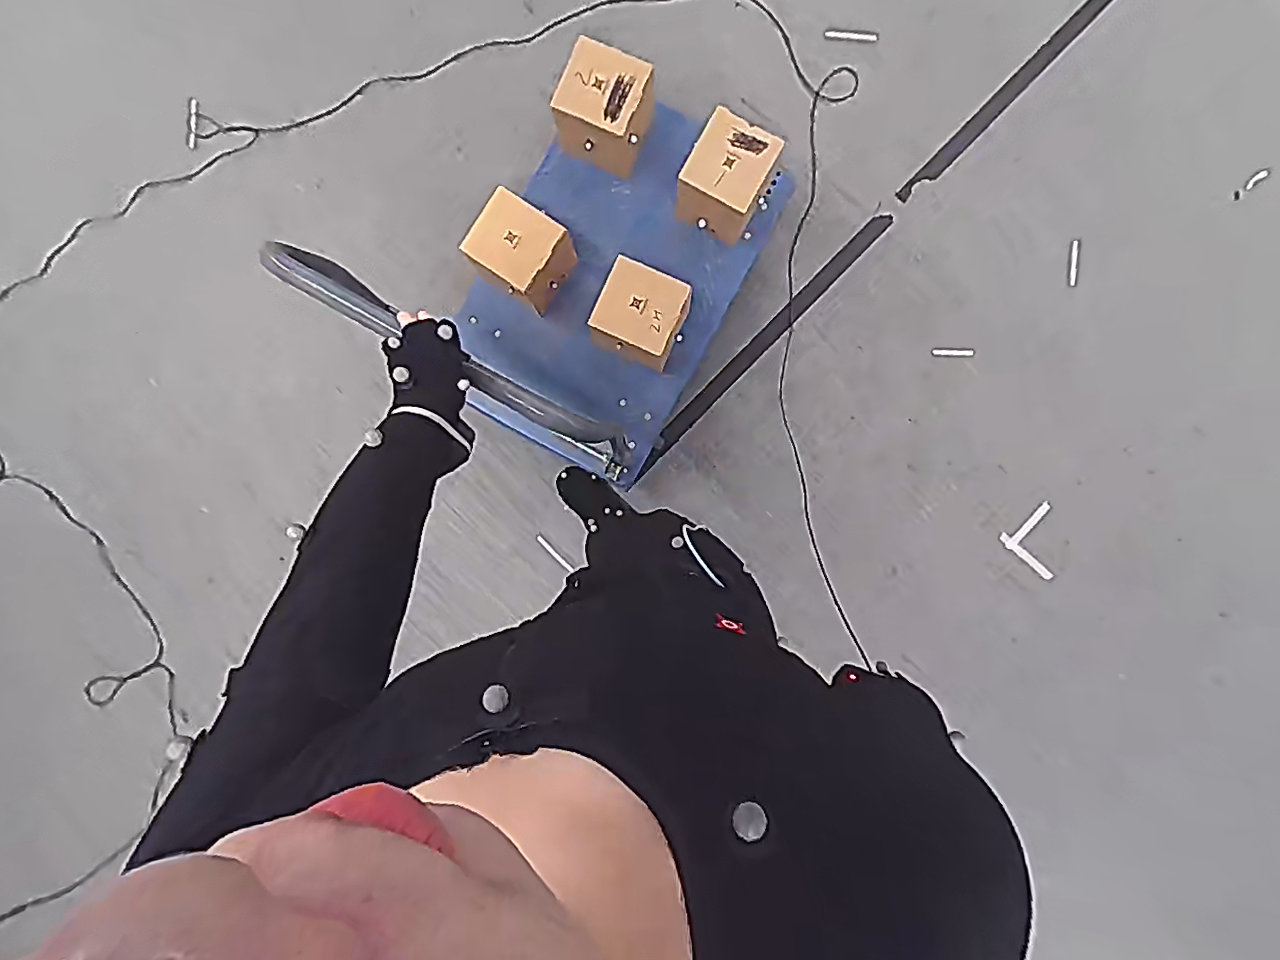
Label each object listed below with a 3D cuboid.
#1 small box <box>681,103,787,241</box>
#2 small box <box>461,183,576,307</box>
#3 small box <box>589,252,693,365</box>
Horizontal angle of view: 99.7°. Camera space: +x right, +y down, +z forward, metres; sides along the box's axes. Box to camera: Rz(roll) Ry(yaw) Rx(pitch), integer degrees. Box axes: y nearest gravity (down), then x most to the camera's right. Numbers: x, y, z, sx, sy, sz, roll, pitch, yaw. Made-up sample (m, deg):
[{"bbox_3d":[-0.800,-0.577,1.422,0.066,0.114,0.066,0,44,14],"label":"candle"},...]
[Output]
[{"bbox_3d":[0.199,-0.680,1.214,0.168,0.176,0.179,30,93,2],"label":"small box"},{"bbox_3d":[-0.268,-0.523,1.234,0.179,0.176,0.168,33,91,0],"label":"small box"},{"bbox_3d":[0.005,-0.376,1.225,0.179,0.176,0.168,25,92,2],"label":"small box"}]
